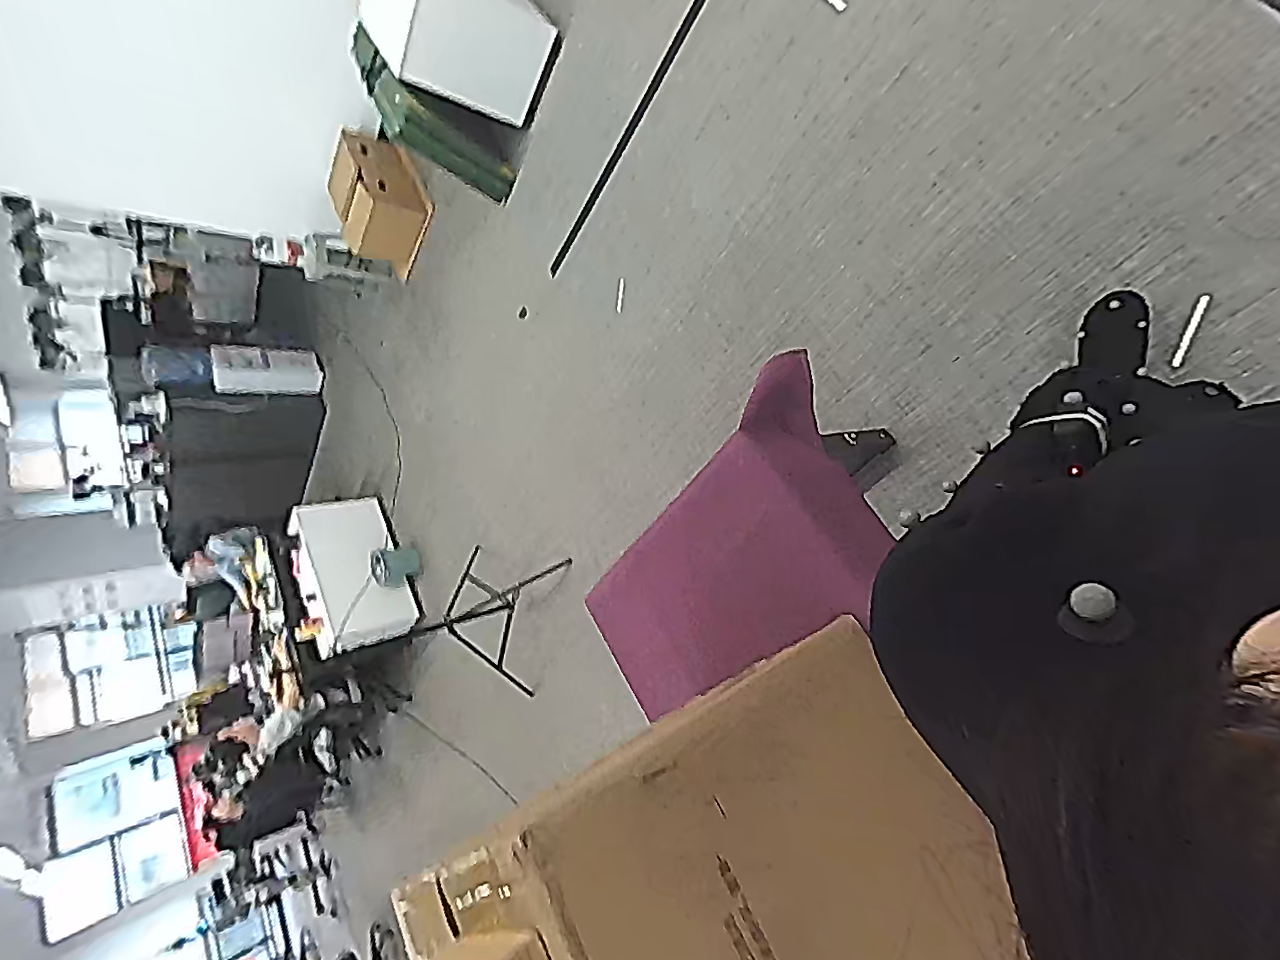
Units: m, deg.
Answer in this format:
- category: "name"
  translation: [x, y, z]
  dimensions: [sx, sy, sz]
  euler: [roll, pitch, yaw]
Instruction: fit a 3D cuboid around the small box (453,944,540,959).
- category: "small box"
  translation: [-0.138, 0.467, 0.375]
  dimensions: [0.179, 0.176, 0.168]
  euler: [-47, 65, 39]
